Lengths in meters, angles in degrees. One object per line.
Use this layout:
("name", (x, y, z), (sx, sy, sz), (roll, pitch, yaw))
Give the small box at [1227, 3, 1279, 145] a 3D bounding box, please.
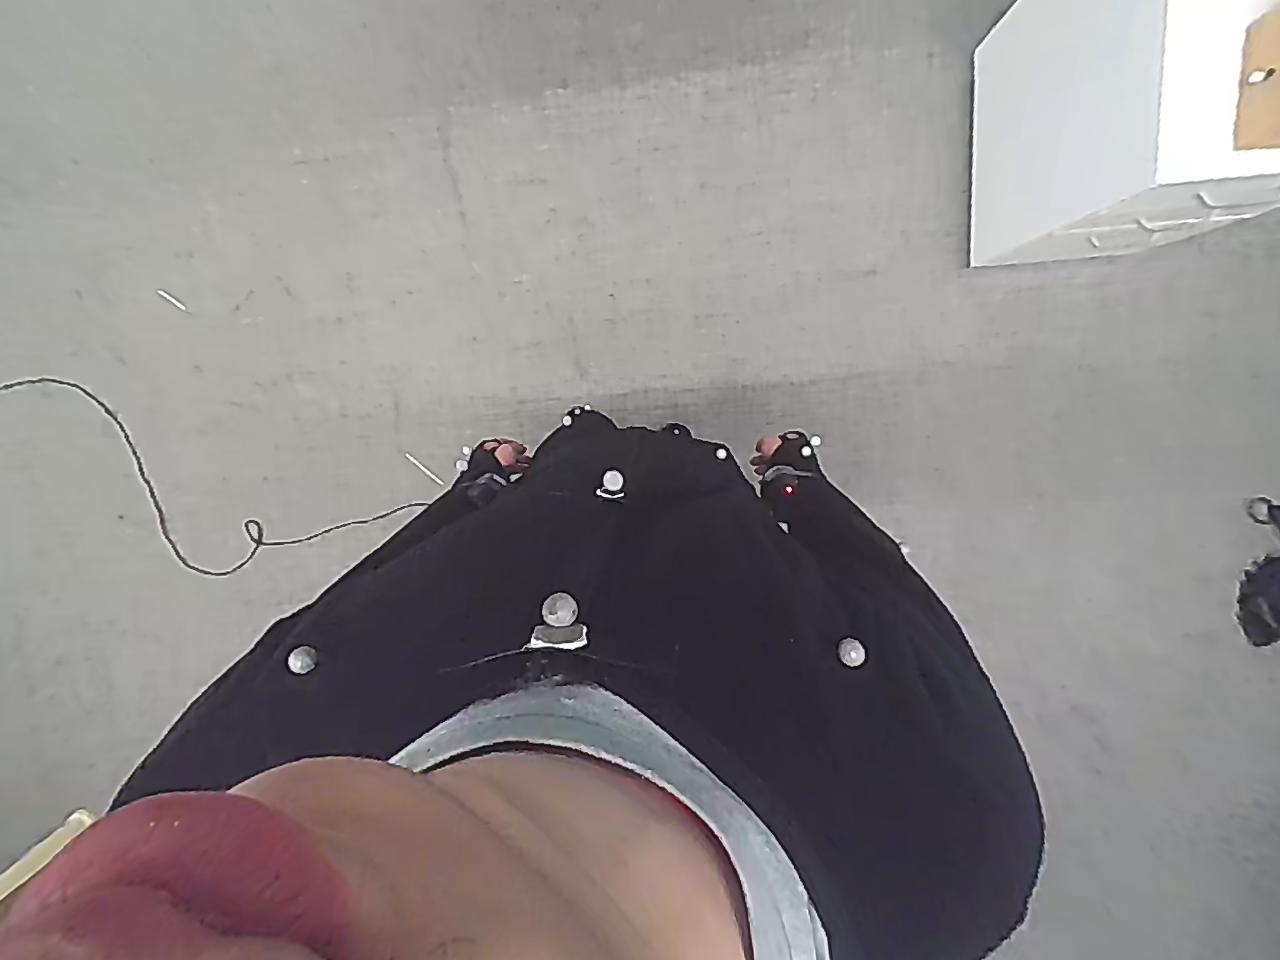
("small box", (0.970, -0.579, 0.733), (0.168, 0.176, 0.179), (-2, 99, 3))
